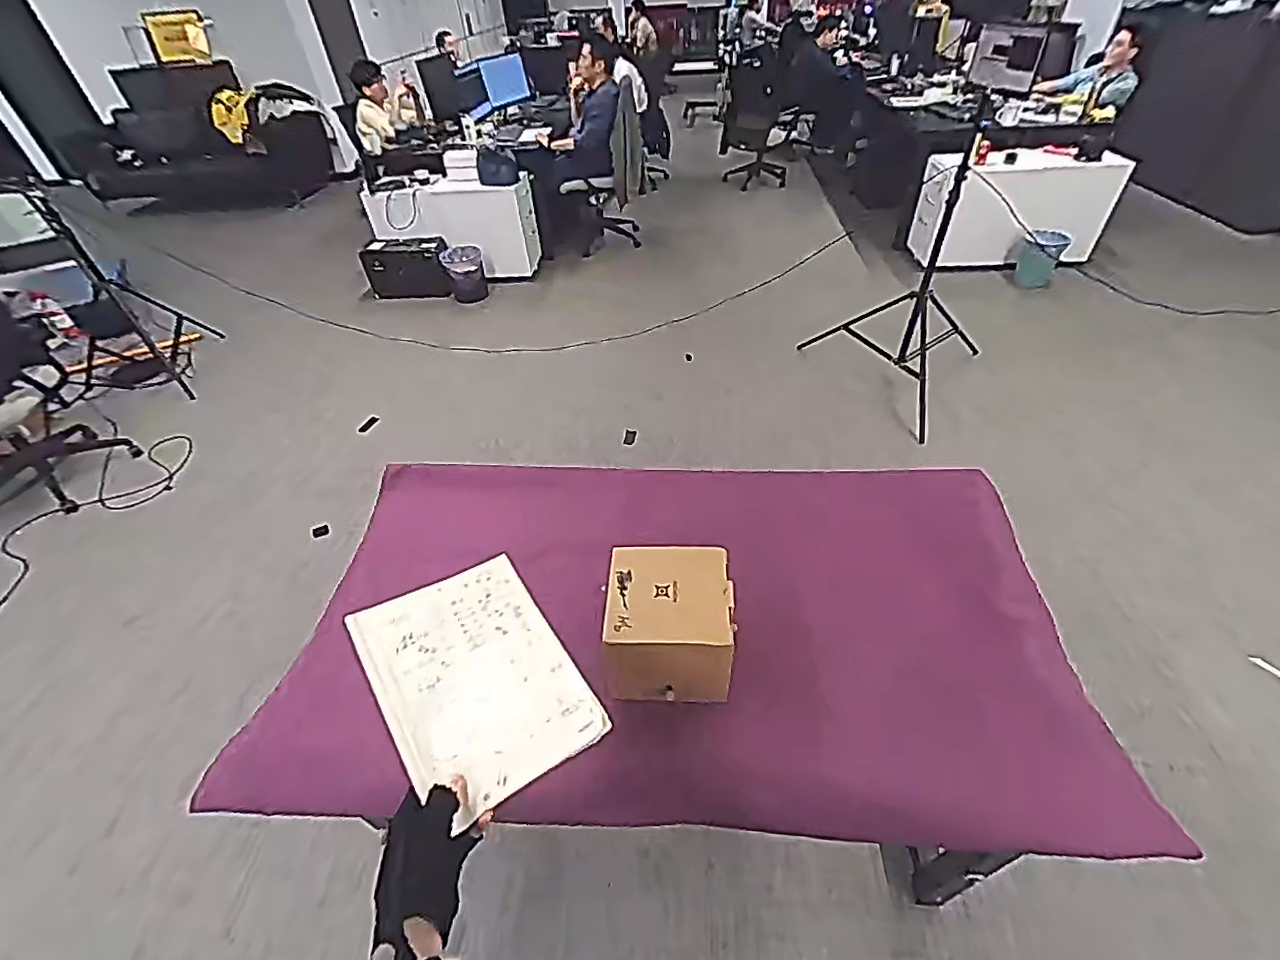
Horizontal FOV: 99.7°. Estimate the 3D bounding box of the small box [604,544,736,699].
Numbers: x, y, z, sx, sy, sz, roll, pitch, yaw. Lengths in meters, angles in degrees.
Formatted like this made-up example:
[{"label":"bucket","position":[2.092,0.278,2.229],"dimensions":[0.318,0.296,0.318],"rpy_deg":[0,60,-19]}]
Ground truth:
[{"label":"small box","position":[0.046,0.215,0.817],"dimensions":[0.179,0.176,0.168],"rpy_deg":[0,42,4]}]
